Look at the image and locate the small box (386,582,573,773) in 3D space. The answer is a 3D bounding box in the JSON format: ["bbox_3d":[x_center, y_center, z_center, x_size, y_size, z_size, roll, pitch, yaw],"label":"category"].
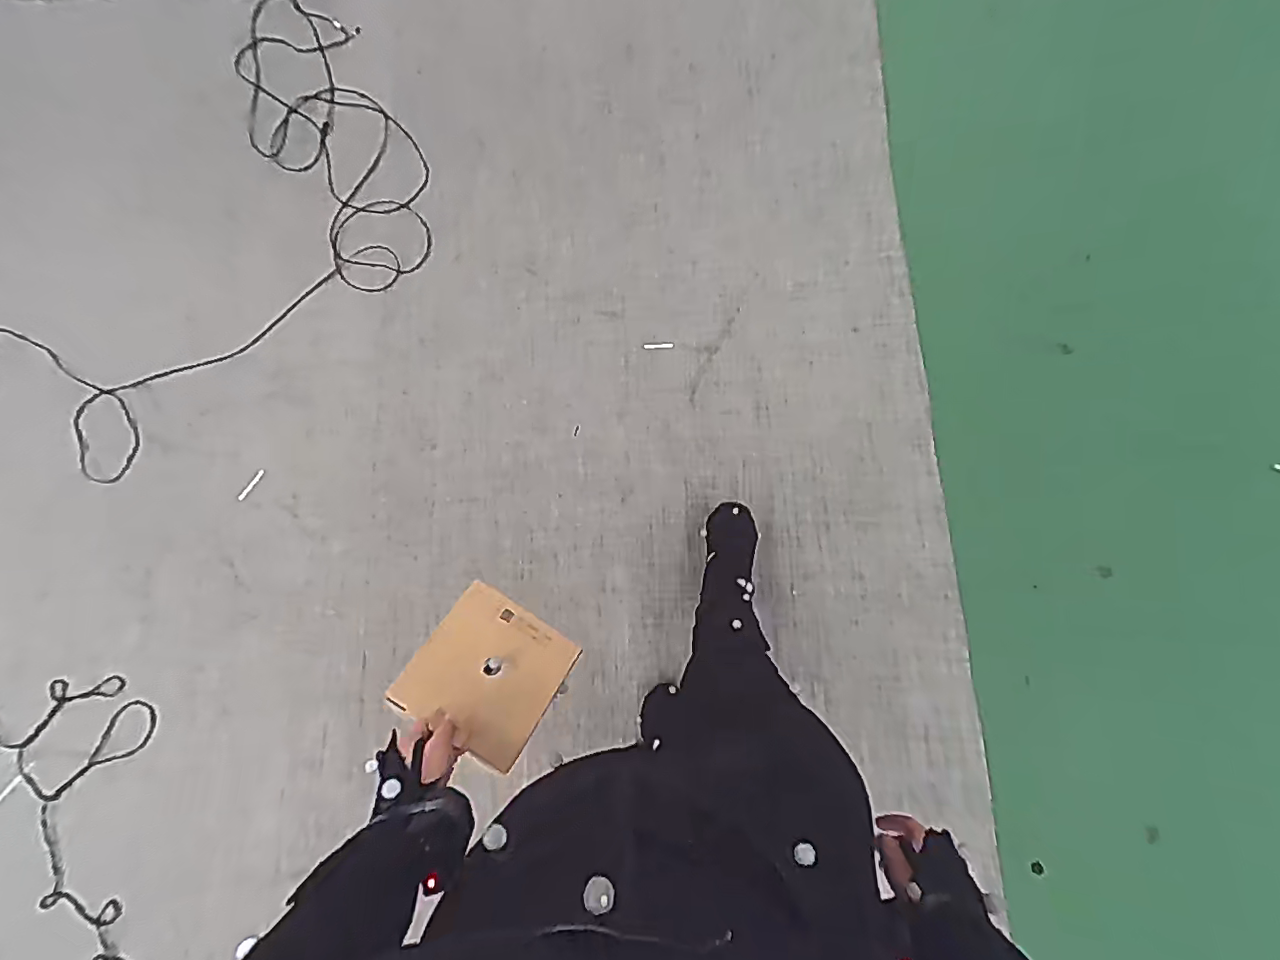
[{"bbox_3d":[-0.208,0.262,0.720,0.168,0.179,0.176,33,55,-1],"label":"small box"}]
